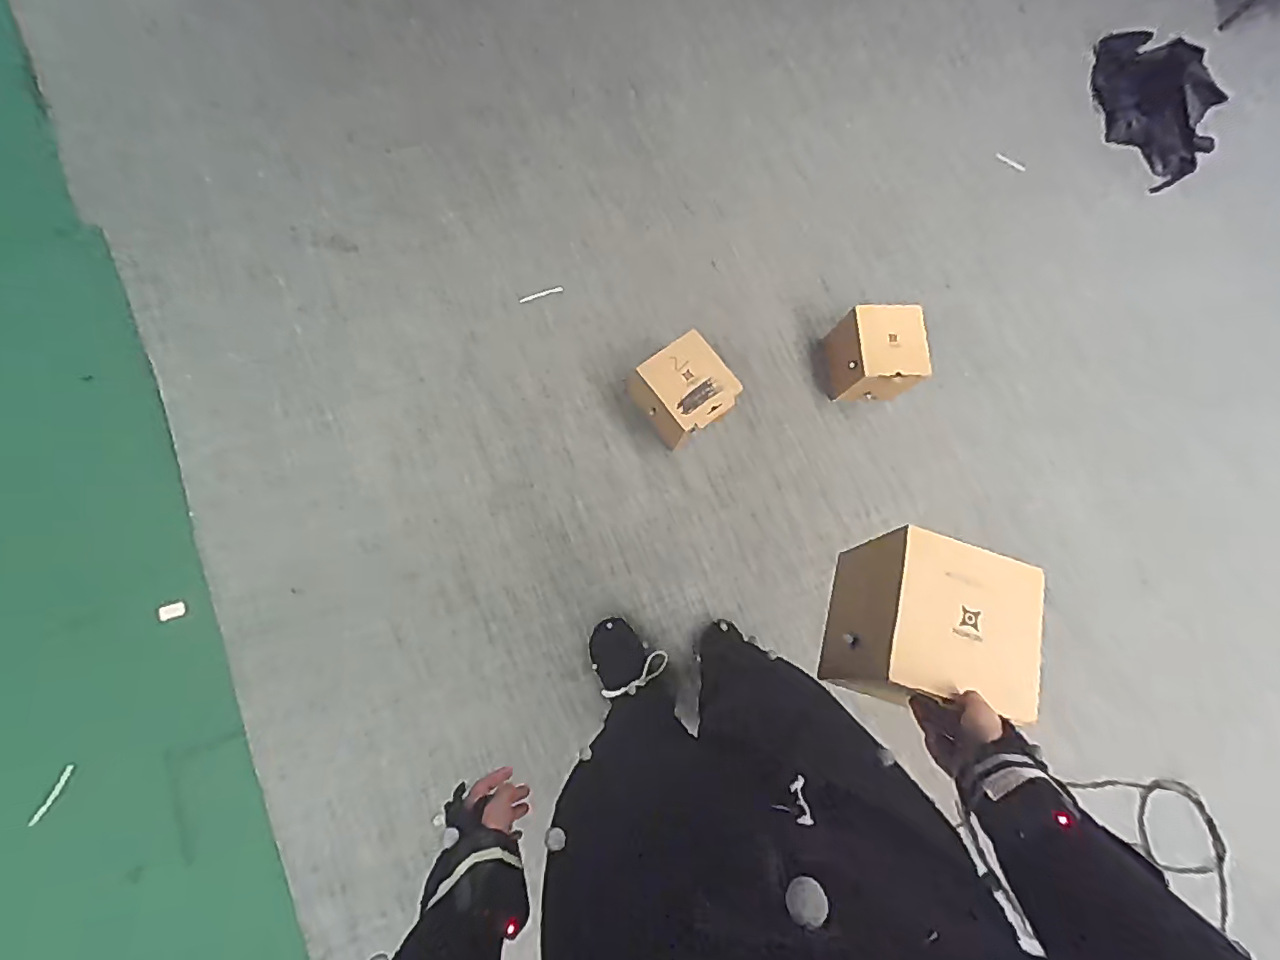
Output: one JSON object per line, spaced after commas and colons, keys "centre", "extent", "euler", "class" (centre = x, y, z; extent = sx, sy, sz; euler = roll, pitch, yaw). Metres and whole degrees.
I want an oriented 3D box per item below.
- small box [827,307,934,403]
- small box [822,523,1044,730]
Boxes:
{"centre": [0.567, -0.295, 1.299], "extent": [0.168, 0.176, 0.179], "euler": [-2, 79, -7], "class": "small box"}
{"centre": [0.335, 0.176, 0.643], "extent": [0.168, 0.176, 0.179], "euler": [18, 68, -1], "class": "small box"}
